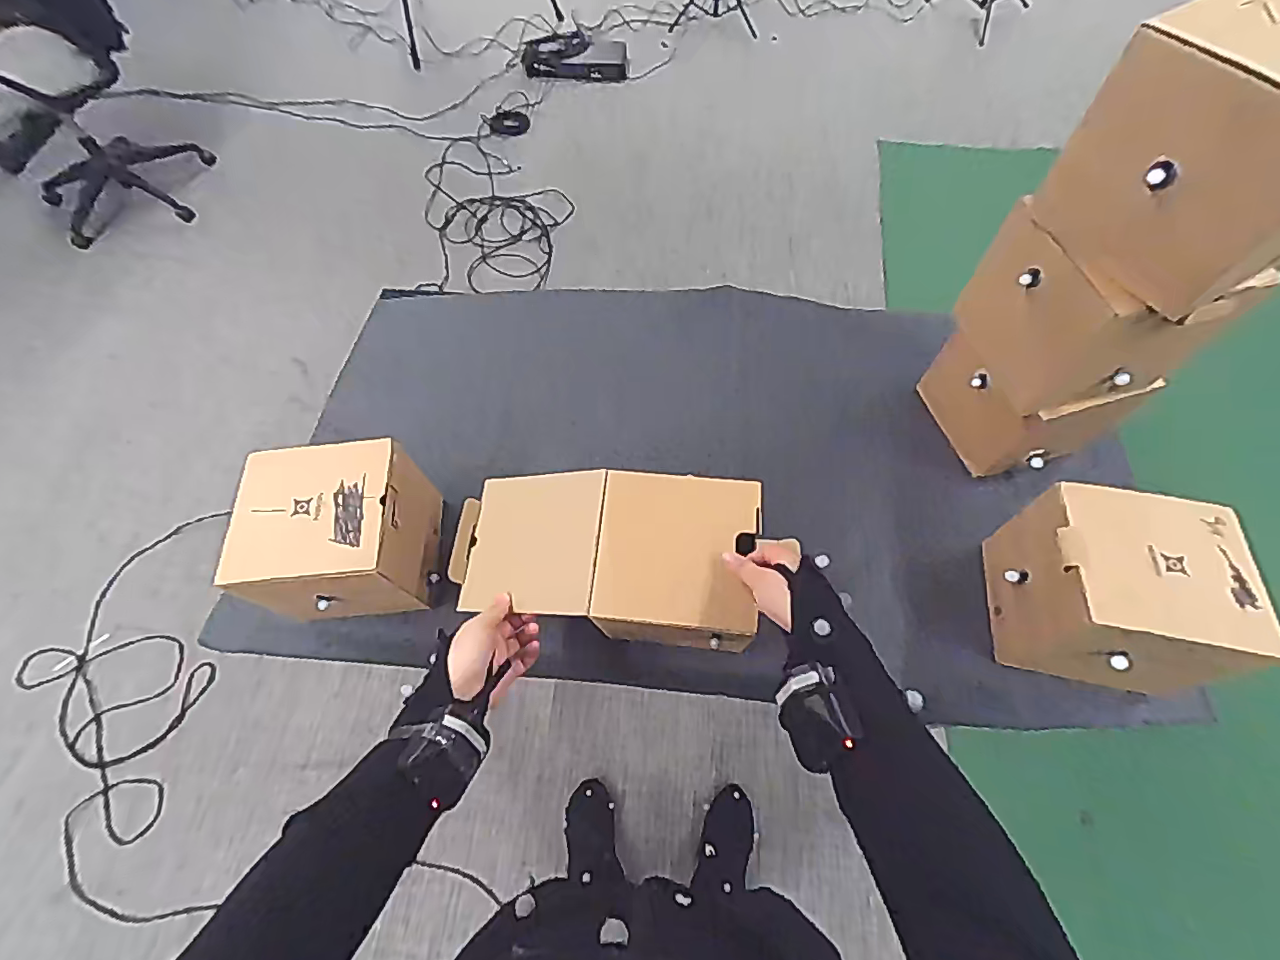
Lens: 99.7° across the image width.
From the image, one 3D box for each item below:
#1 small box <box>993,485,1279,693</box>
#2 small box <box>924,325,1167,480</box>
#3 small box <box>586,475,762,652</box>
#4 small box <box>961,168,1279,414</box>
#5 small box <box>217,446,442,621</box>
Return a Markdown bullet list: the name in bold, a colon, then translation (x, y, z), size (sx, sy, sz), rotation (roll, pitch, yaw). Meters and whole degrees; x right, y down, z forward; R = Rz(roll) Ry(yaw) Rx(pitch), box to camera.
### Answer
- **small box**: translation (0.527, 0.128, 0.608), size (0.179, 0.176, 0.168), rotation (9, 59, 8)
- **small box**: translation (0.532, -0.126, 0.746), size (0.168, 0.176, 0.179), rotation (-16, 65, -3)
- **small box**: translation (0.045, 0.106, 0.641), size (0.179, 0.176, 0.168), rotation (4, 67, 6)
- **small box**: translation (0.501, -0.202, 0.601), size (0.168, 0.176, 0.179), rotation (-13, 63, 0)
- **small box**: translation (-0.365, 0.073, 0.678), size (0.179, 0.176, 0.168), rotation (-5, 63, 0)
